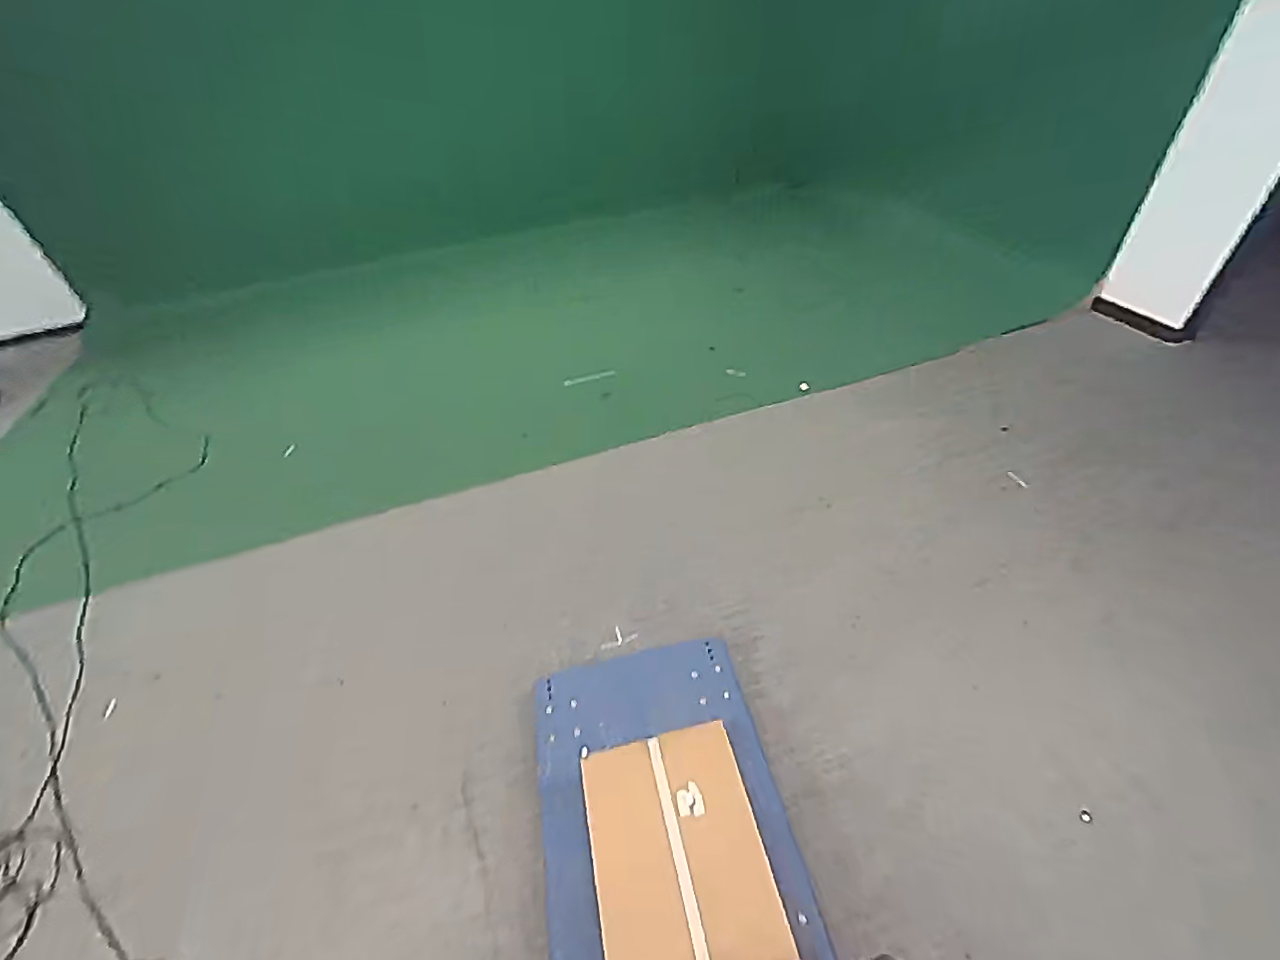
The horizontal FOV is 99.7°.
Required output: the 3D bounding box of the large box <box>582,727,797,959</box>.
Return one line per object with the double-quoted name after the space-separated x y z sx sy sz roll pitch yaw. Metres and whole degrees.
0.085 0.802 1.107 0.320 0.320 0.408 -12 42 -5 "large box"
